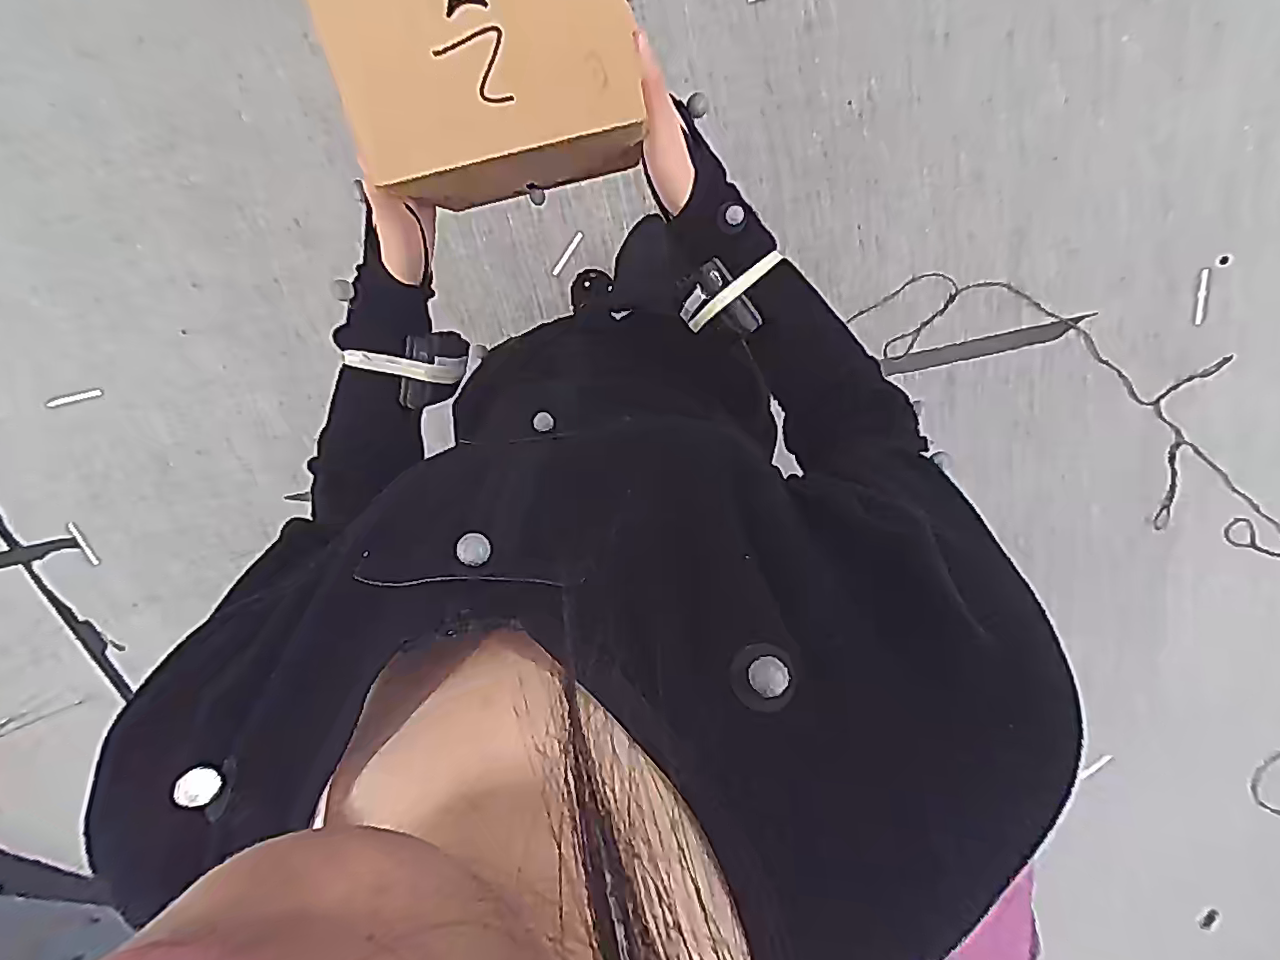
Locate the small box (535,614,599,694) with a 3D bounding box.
[{"bbox_3d":[-0.218,0.521,1.636,0.179,0.176,0.168,3,110,-4],"label":"small box"}]

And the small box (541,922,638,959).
[{"bbox_3d":[-0.097,0.998,1.038,0.179,0.176,0.168,-11,111,2],"label":"small box"}]
